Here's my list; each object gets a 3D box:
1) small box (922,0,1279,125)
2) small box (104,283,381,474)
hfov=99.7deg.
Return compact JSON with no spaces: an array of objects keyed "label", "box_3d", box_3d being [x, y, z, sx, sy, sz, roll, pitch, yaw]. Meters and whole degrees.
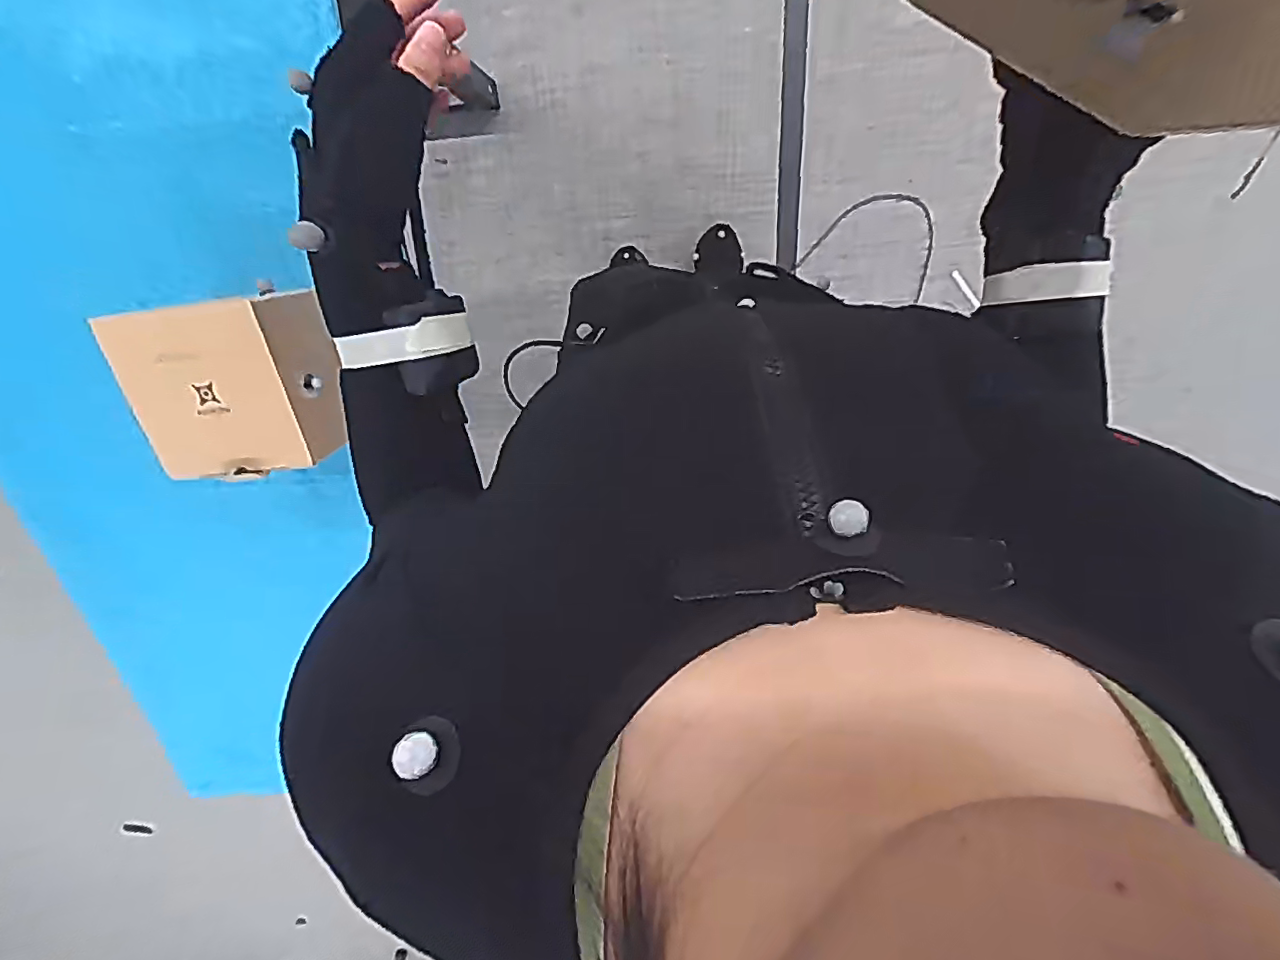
[{"label":"small box","box_3d":[0.253,-0.260,0.206,0.179,0.176,0.168,17,118,-11]},{"label":"small box","box_3d":[-0.436,-0.124,0.633,0.168,0.176,0.179,-5,115,4]}]
